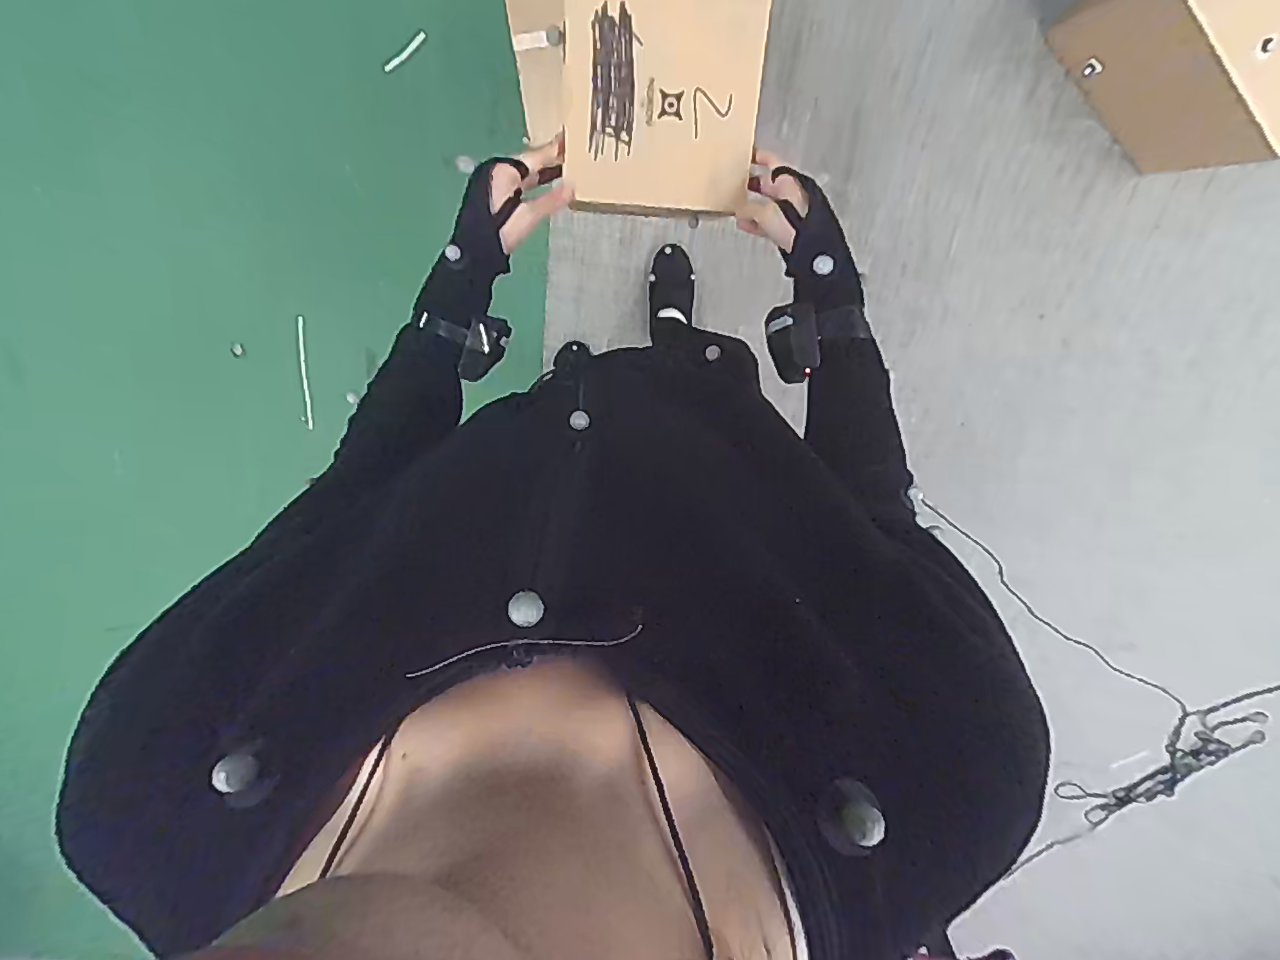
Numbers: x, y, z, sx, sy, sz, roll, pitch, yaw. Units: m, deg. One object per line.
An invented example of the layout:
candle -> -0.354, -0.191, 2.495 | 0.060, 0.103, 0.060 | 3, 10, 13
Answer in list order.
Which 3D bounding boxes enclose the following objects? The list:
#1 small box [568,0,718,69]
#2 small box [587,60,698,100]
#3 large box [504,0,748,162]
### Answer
small box -> 0.007, -0.637, 0.677 | 0.179, 0.176, 0.168 | 1, 115, 0
small box -> 0.006, -0.699, 0.828 | 0.168, 0.176, 0.179 | 0, 115, 1
large box -> -0.016, -0.827, 1.040 | 0.408, 0.320, 0.320 | -4, 113, 5
